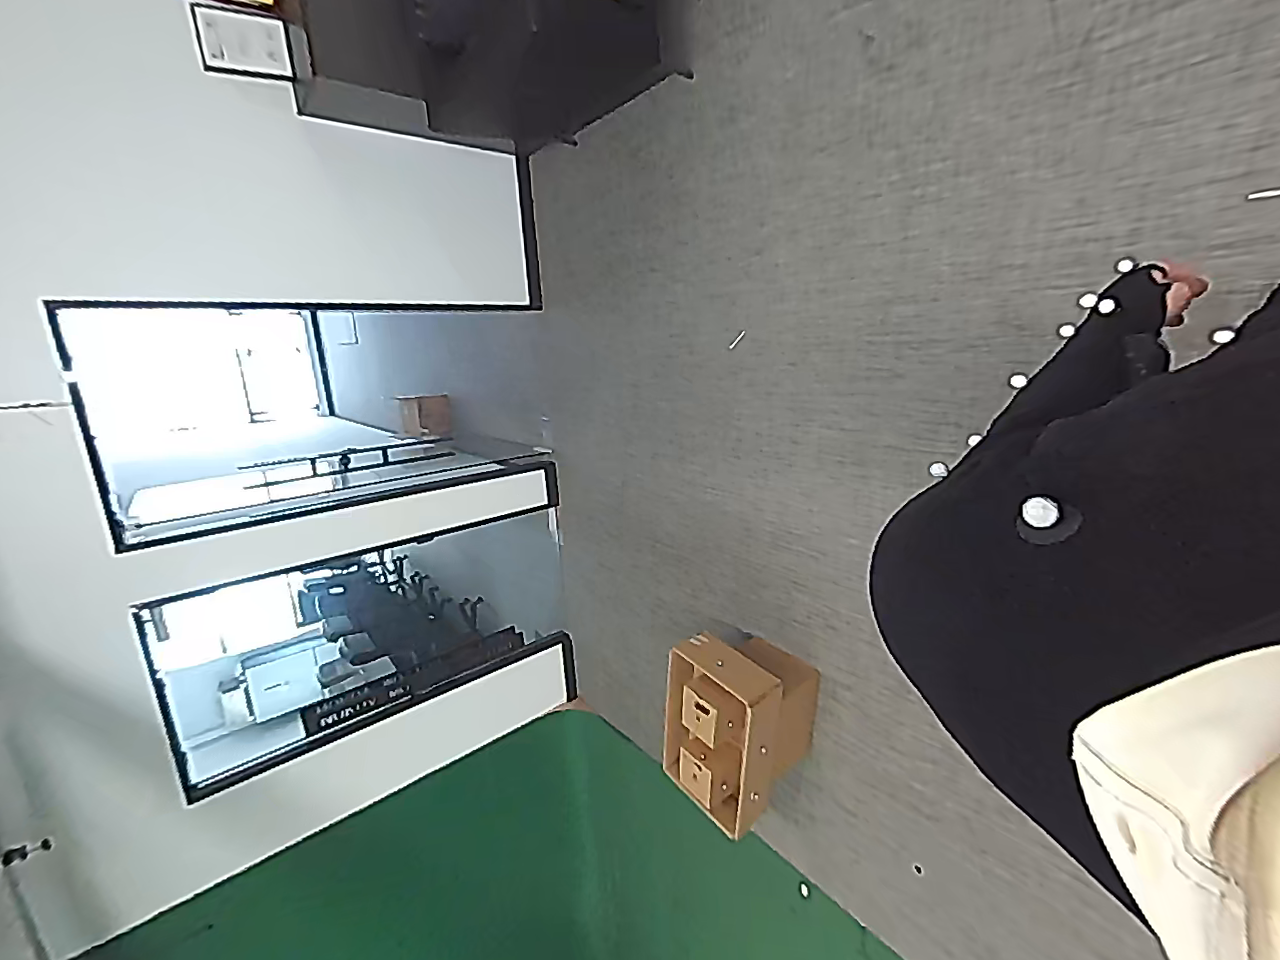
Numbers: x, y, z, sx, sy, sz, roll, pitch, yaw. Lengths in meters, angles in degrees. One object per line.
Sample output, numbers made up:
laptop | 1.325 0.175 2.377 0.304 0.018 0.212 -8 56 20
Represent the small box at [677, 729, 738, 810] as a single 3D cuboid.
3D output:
small box | 0.257 1.096 2.060 0.168 0.176 0.179 19 116 48
